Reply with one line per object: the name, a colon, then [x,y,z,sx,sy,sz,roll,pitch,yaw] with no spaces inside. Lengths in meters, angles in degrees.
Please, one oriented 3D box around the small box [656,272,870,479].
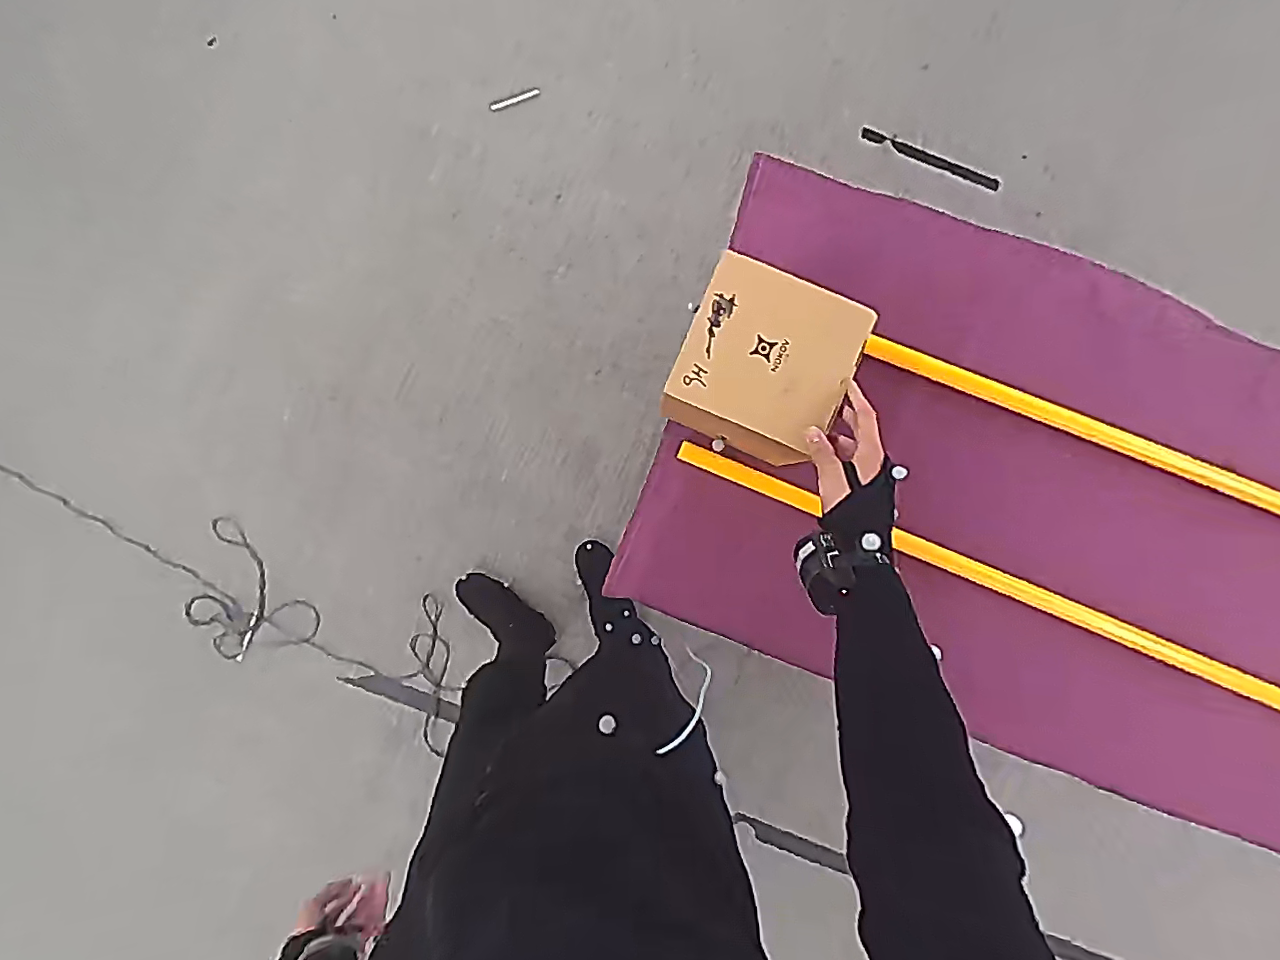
small box: [0.130,-0.111,0.645,0.179,0.176,0.168,24,89,0]
